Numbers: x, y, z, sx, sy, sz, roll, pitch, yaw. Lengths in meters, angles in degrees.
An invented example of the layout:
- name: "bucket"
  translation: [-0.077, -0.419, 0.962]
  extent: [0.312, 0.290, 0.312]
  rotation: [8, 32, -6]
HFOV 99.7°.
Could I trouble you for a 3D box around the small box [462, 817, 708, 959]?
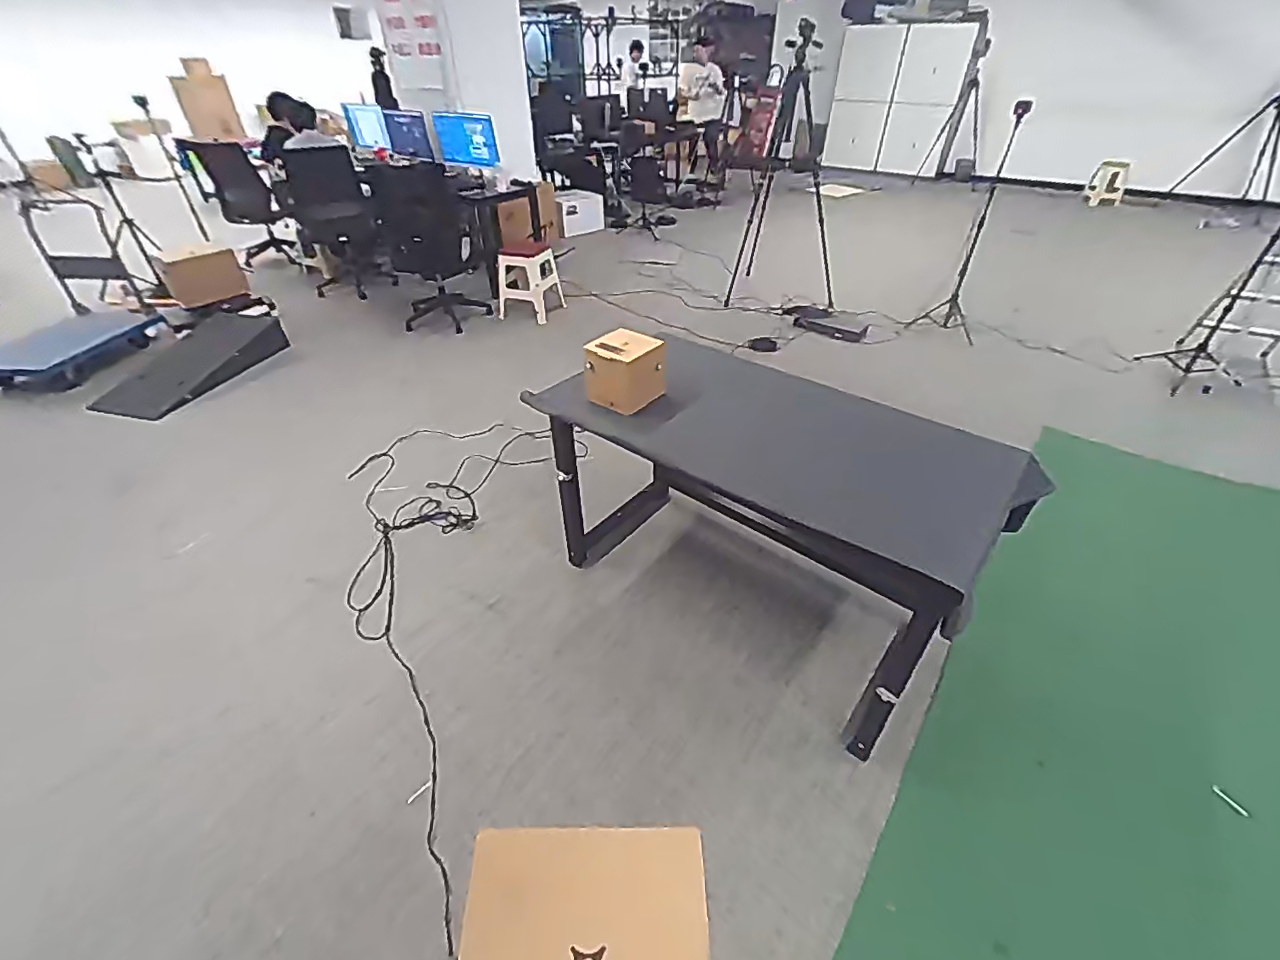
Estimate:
- name: "small box"
  translation: [-0.041, 0.375, 0.410]
  extent: [0.168, 0.176, 0.179]
  rotation: [2, 48, -3]
